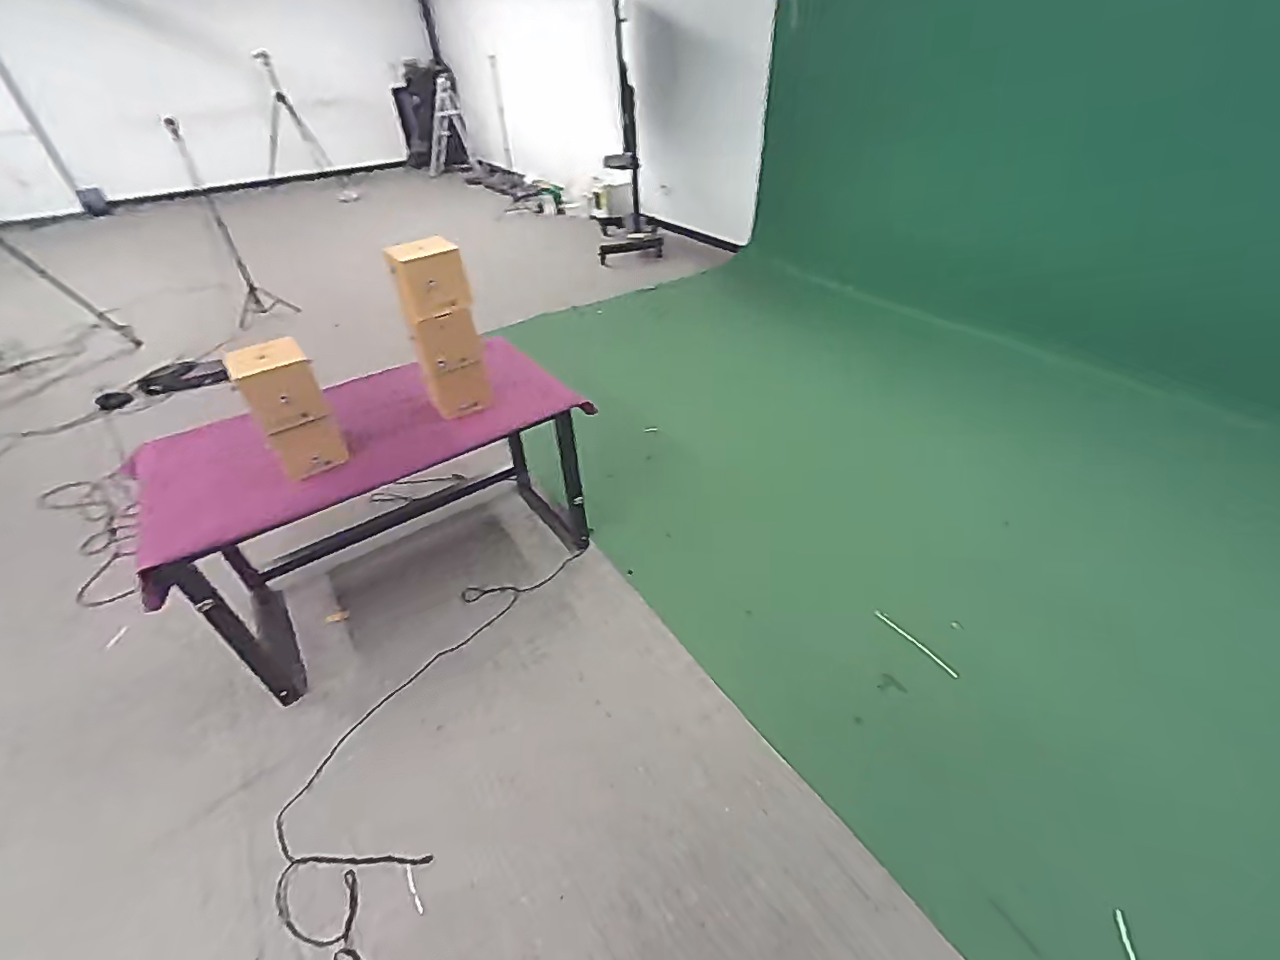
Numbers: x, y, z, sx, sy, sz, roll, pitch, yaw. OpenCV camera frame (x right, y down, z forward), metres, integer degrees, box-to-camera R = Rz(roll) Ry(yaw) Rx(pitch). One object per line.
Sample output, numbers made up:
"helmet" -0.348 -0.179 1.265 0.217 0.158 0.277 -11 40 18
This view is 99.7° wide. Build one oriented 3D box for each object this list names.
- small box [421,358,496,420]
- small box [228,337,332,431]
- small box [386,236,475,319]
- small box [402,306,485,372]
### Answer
"small box" -0.585 -0.321 1.748 0.168 0.176 0.179 -26 44 -23
"small box" -0.943 -0.249 1.424 0.168 0.176 0.179 -27 46 -27
"small box" -0.593 -0.575 1.545 0.168 0.176 0.179 -28 44 -25
"small box" -0.593 -0.445 1.642 0.168 0.176 0.179 -26 43 -24
